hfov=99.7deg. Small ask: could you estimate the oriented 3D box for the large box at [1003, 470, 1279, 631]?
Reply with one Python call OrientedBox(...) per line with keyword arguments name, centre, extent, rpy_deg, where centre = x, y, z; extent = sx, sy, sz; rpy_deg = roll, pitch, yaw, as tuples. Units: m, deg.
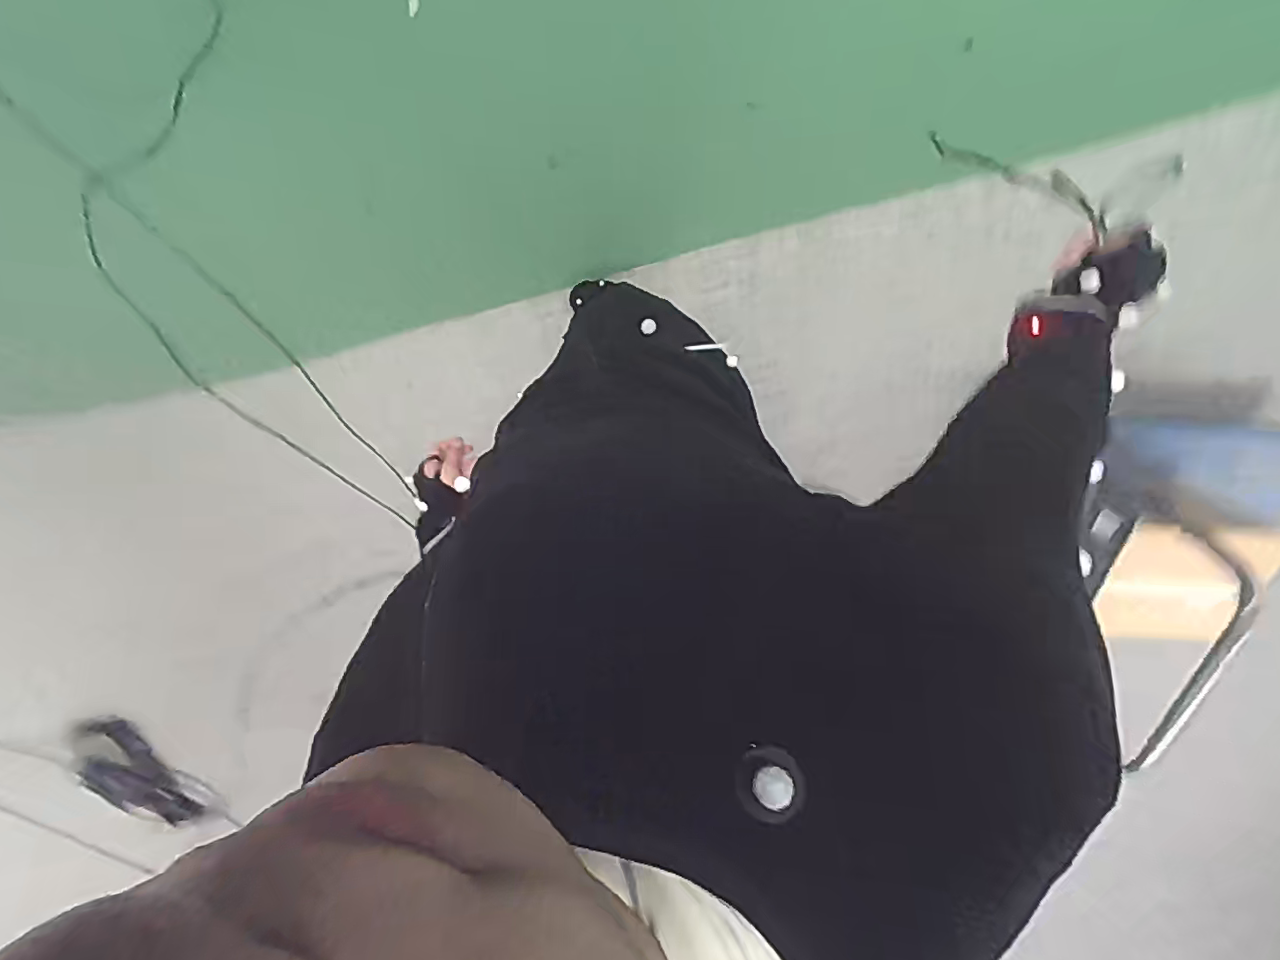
OrientedBox(name="large box", centre=(1.288, 0.176, 1.433), extent=(0.408, 0.320, 0.320), rpy_deg=(2, 117, -1))
